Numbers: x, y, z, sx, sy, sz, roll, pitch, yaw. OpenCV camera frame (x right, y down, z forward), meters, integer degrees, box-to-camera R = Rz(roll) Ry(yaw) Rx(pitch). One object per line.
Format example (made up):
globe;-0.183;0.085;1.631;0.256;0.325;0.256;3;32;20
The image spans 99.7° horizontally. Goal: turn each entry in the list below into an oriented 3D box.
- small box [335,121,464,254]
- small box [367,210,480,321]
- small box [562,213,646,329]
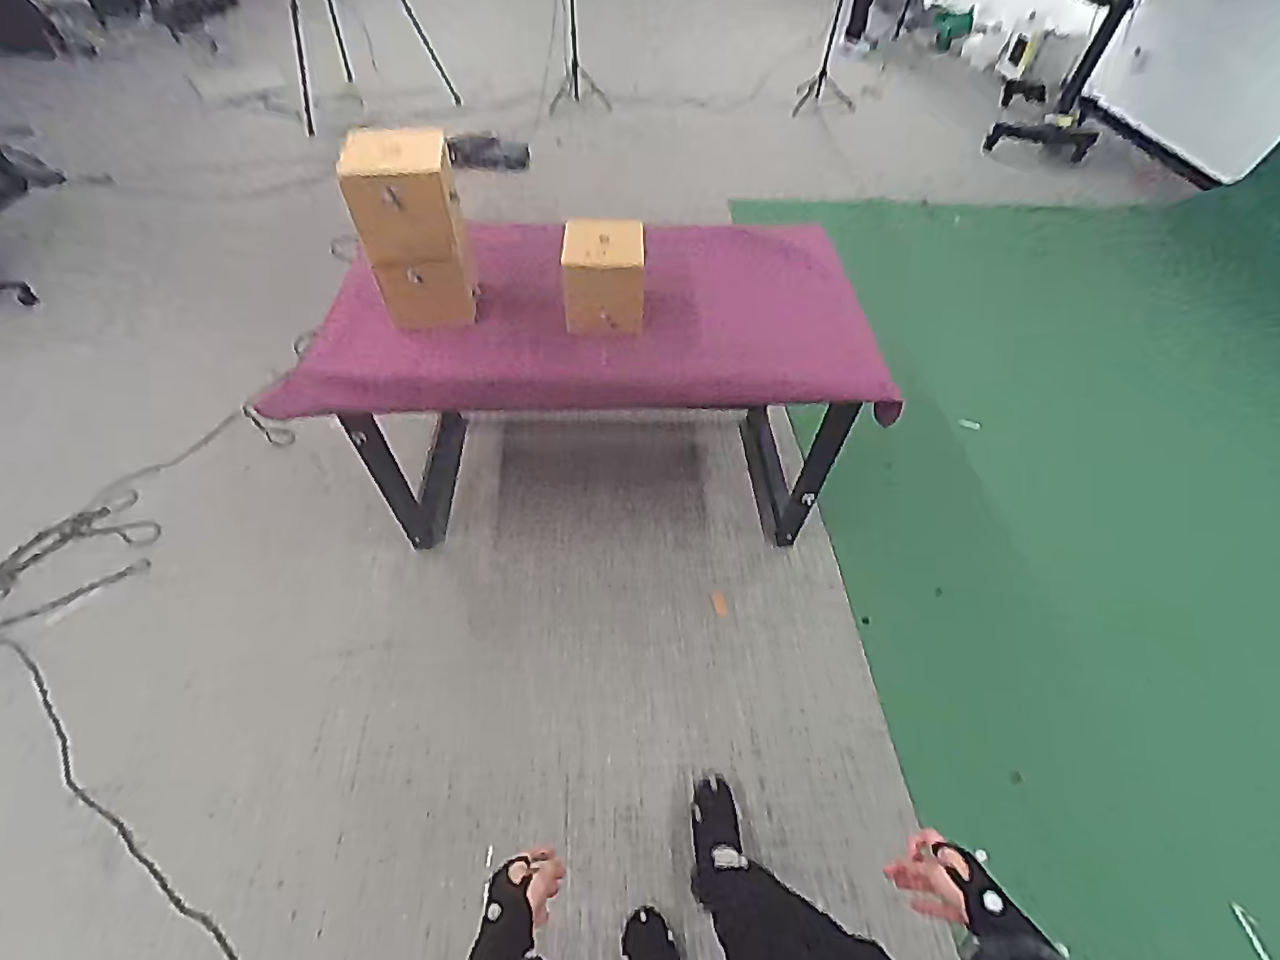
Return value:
small box;-0.440;-0.551;1.026;0.179;0.176;0.168;-6;55;-6
small box;-0.452;-0.458;1.158;0.179;0.176;0.168;-4;54;-6
small box;-0.074;-0.451;1.168;0.168;0.176;0.179;1;54;-1
